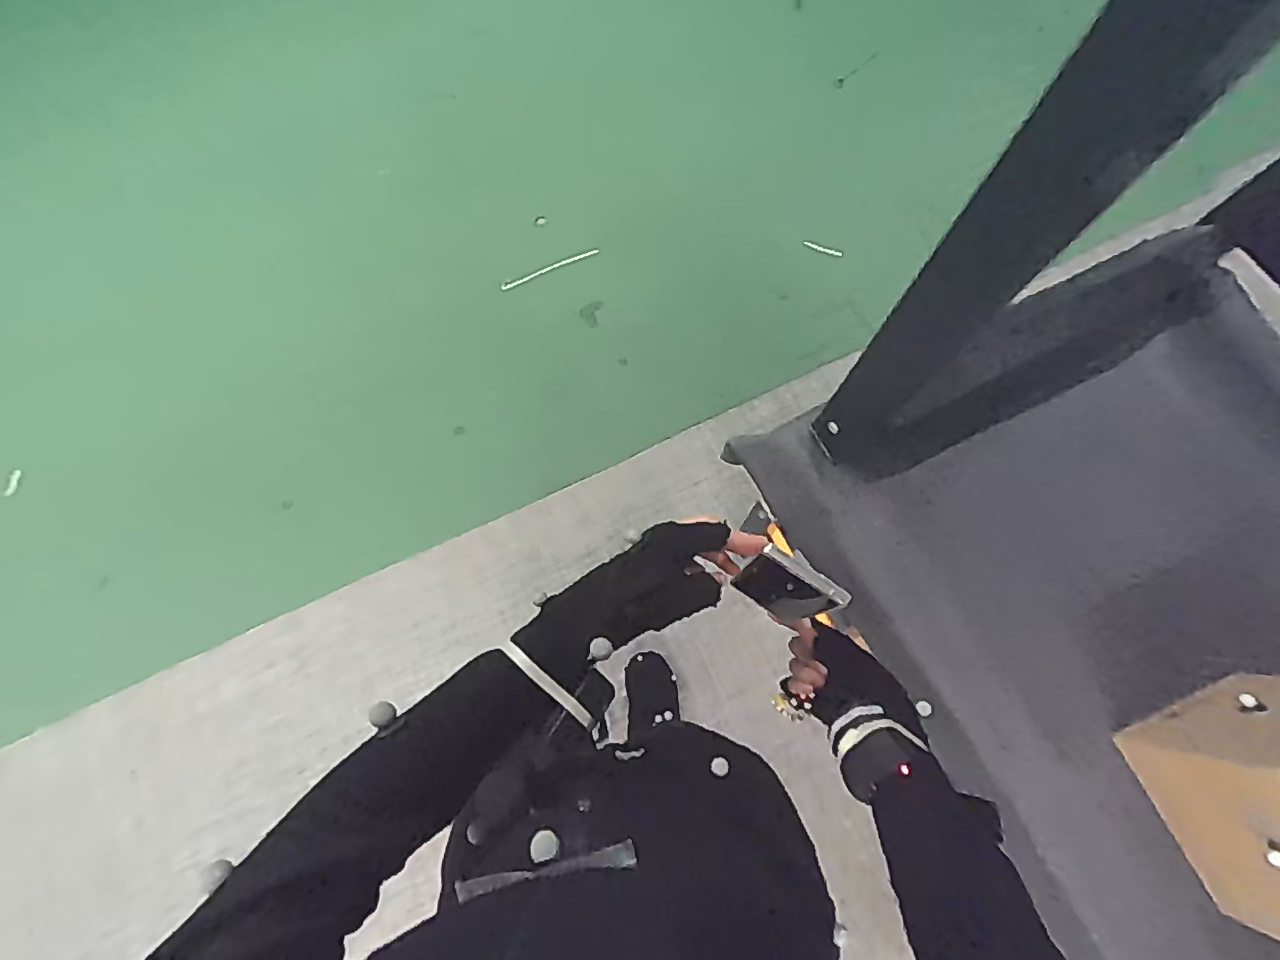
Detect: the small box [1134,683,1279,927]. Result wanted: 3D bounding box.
[{"bbox_3d":[0.608,0.289,0.471,0.168,0.176,0.179,-23,73,-4],"label":"small box"}]
